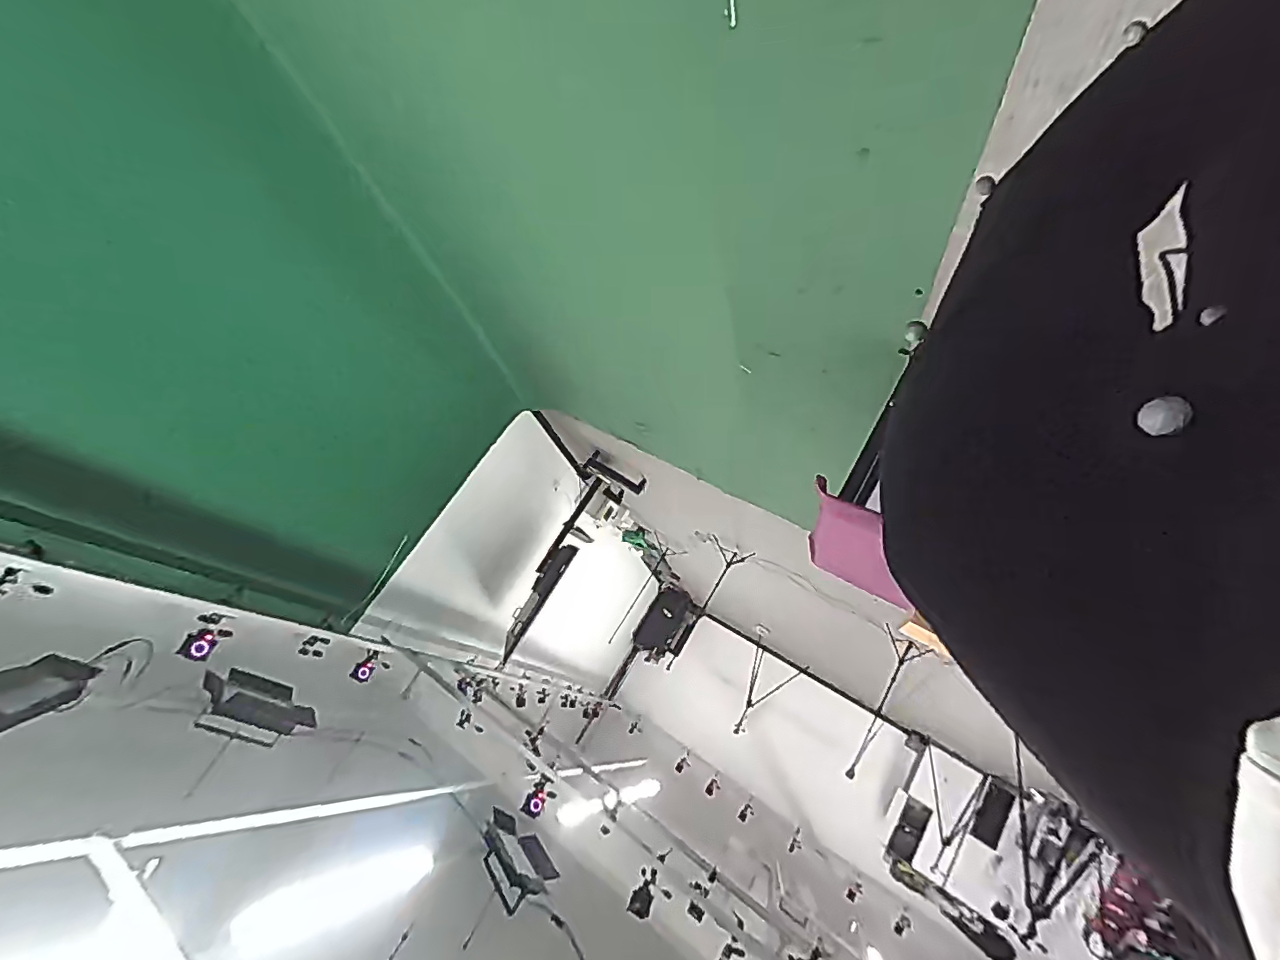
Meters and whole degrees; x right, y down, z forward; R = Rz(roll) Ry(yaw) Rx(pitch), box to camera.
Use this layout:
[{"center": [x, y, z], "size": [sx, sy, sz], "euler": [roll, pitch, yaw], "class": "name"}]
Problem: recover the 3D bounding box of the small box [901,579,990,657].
[{"center": [0.958, 0.427, 1.701], "size": [0.179, 0.176, 0.168], "euler": [26, 163, 23], "class": "small box"}]
